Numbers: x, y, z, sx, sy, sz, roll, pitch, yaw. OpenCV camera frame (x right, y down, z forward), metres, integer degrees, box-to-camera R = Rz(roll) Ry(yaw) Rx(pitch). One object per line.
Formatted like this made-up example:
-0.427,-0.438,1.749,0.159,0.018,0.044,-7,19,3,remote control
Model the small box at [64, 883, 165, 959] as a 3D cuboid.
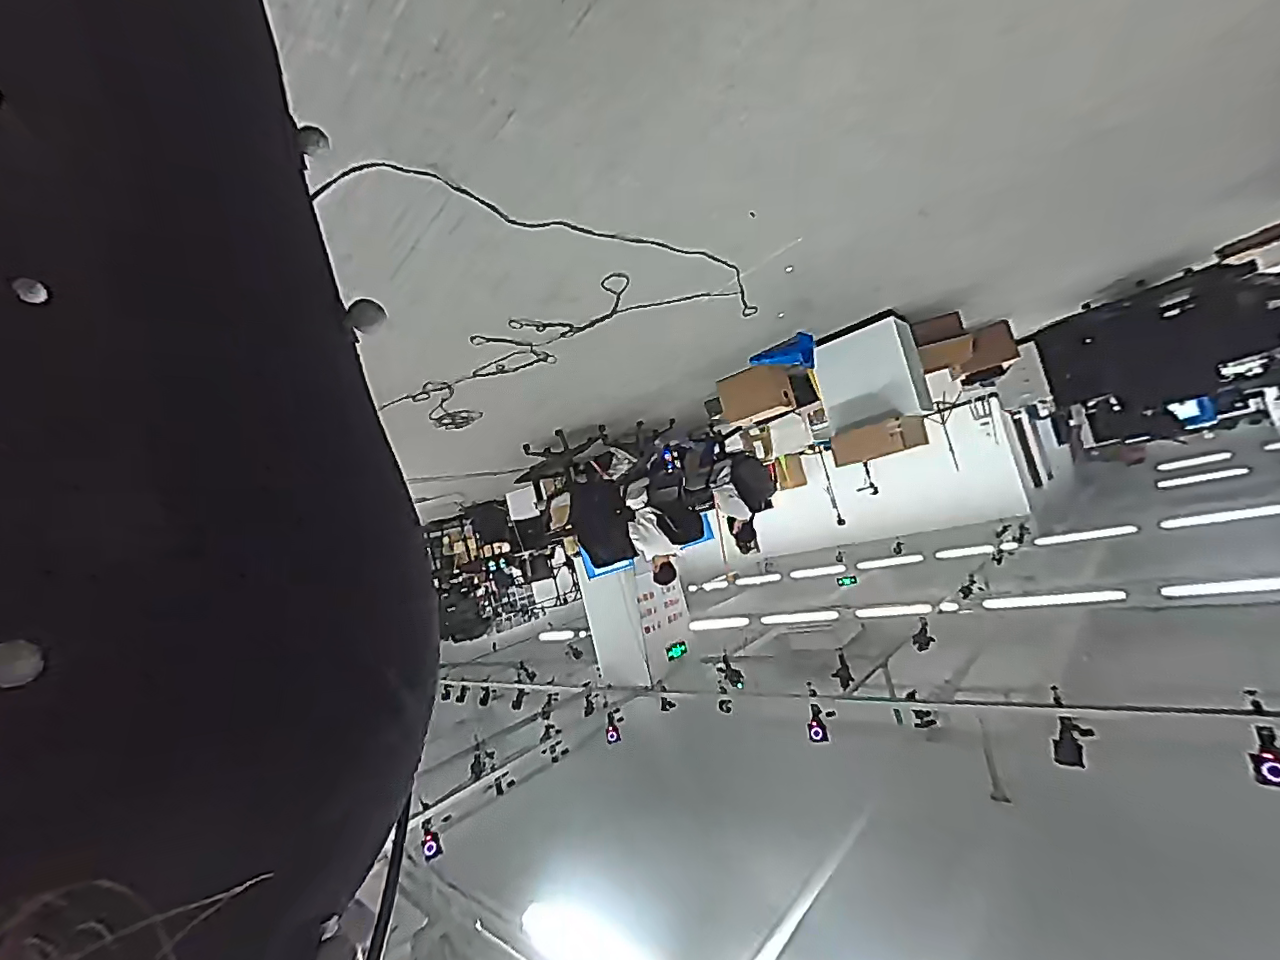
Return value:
-1.341,1.177,1.381,0.179,0.176,0.168,-19,173,43,small box
